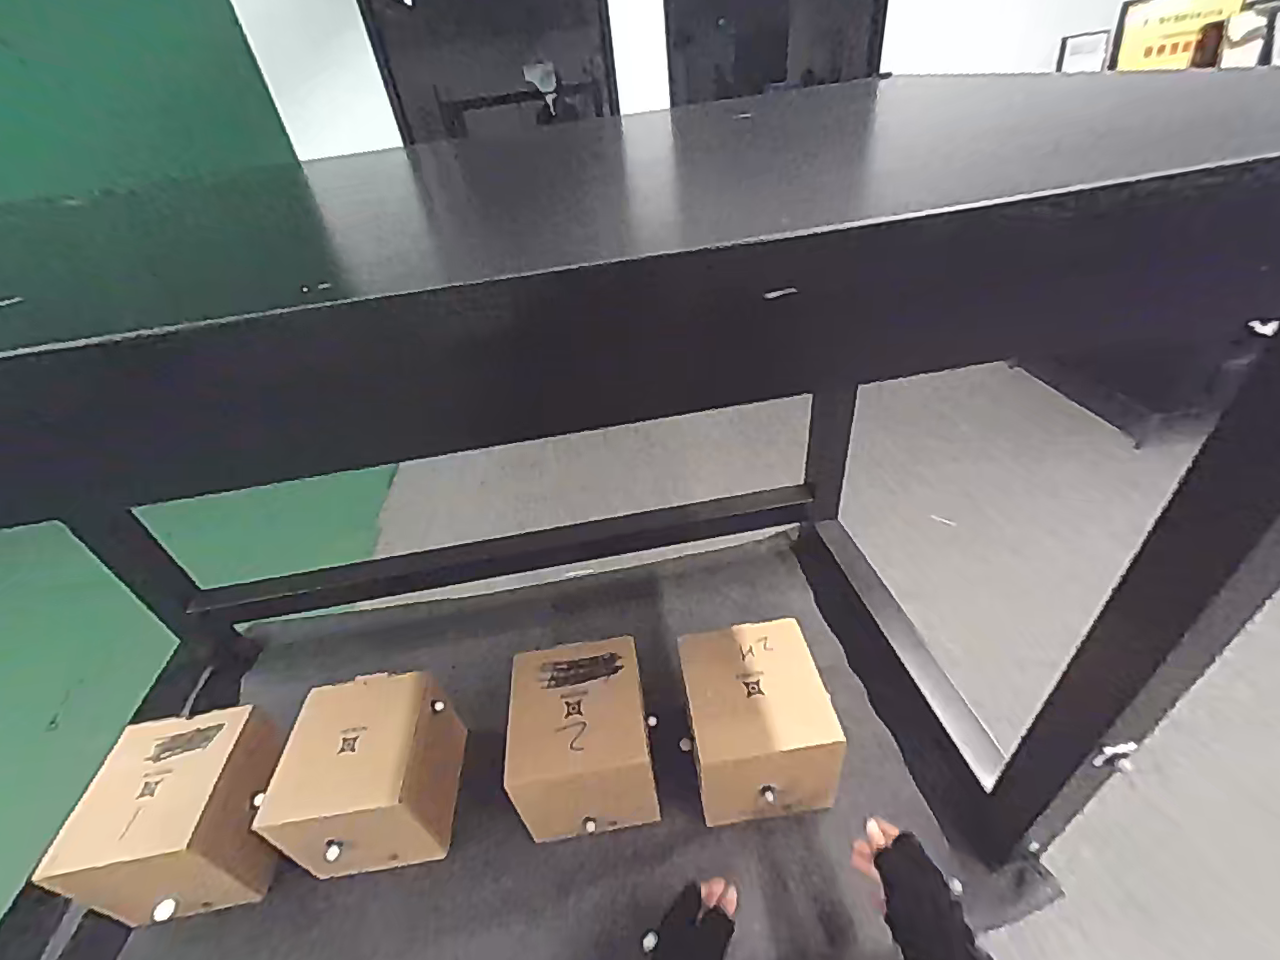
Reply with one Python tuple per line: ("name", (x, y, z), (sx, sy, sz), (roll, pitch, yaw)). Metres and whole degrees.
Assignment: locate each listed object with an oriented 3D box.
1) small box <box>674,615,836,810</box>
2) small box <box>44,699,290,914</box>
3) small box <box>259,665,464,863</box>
("small box", (0.144, 0.312, 0.719), (0.168, 0.176, 0.179), (-8, 36, -1))
("small box", (-0.571, 0.420, 0.703), (0.168, 0.176, 0.179), (-9, 37, -3))
("small box", (-0.348, 0.381, 0.721), (0.168, 0.176, 0.179), (-9, 36, -2))
